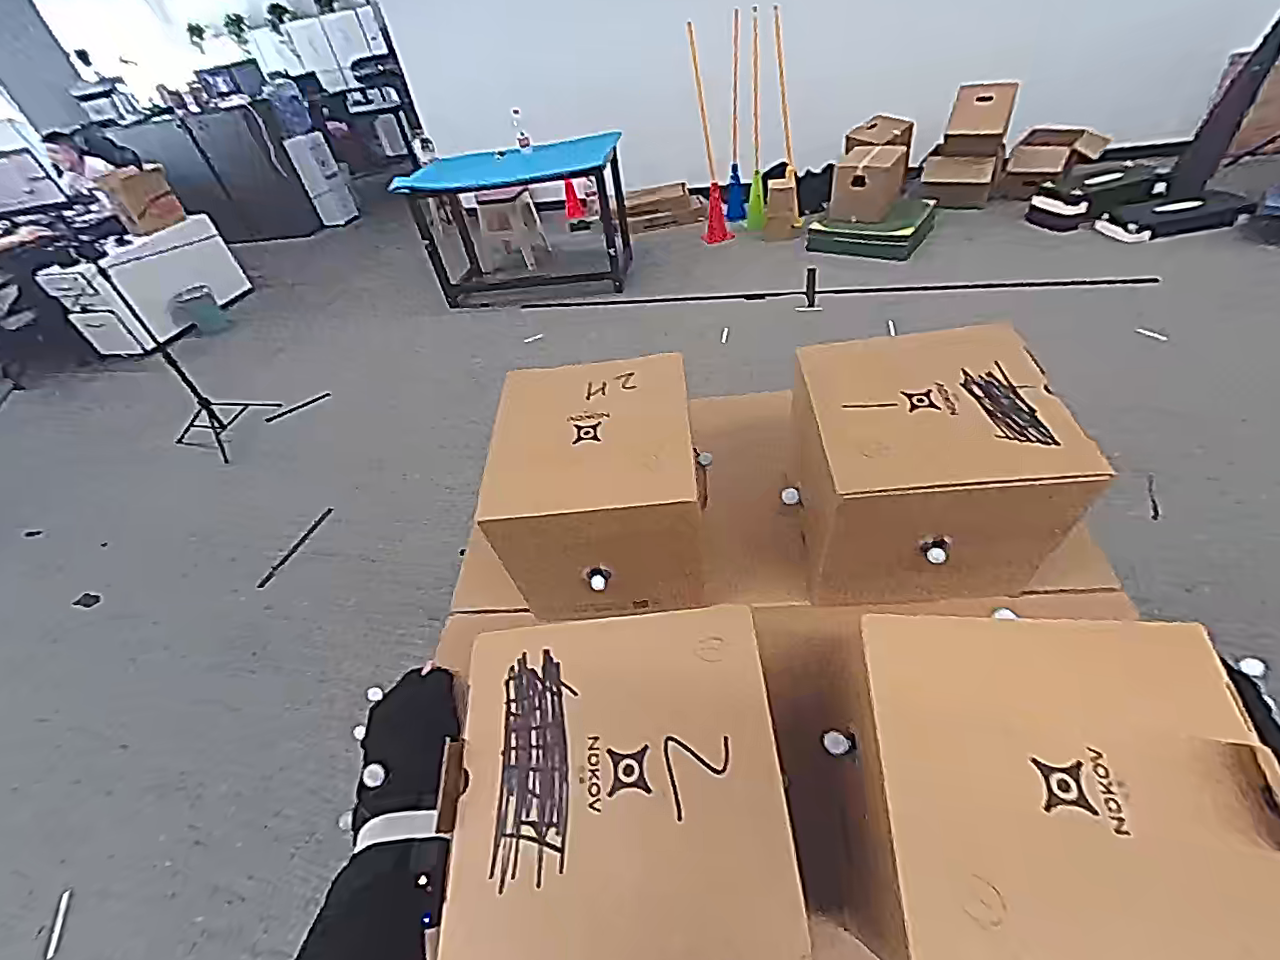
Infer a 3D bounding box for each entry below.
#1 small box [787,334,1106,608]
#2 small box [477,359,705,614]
[{"bbox_3d":[0.230,-0.001,0.469,0.179,0.176,0.168,-5,50,8],"label":"small box"},{"bbox_3d":[-0.029,0.015,0.506,0.168,0.176,0.179,-5,49,6],"label":"small box"}]
